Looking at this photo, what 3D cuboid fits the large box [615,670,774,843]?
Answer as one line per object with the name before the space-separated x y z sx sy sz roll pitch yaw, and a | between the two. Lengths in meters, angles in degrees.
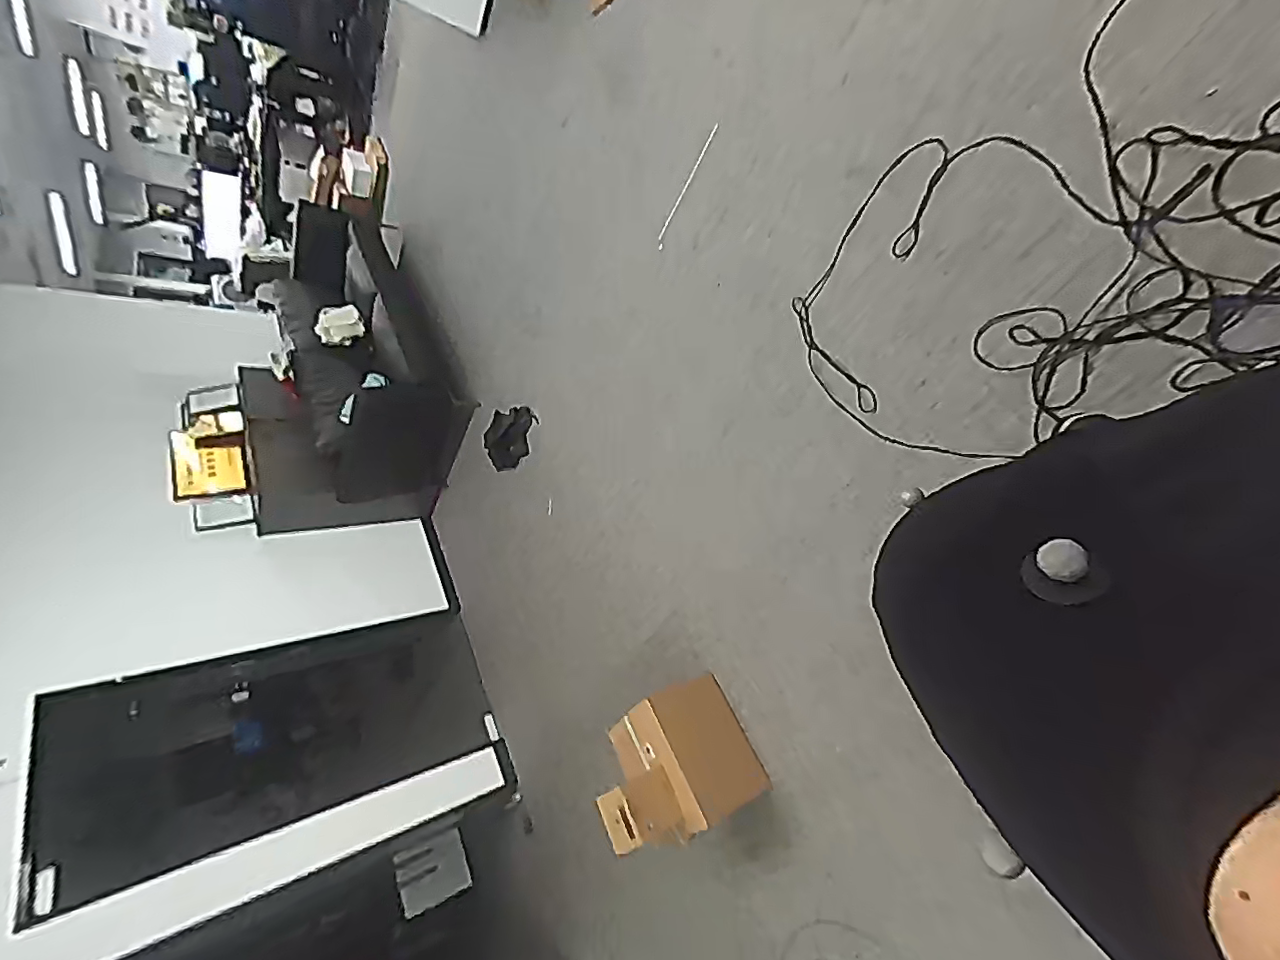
large box | 0.178 0.937 1.863 0.320 0.320 0.408 -55 52 37
